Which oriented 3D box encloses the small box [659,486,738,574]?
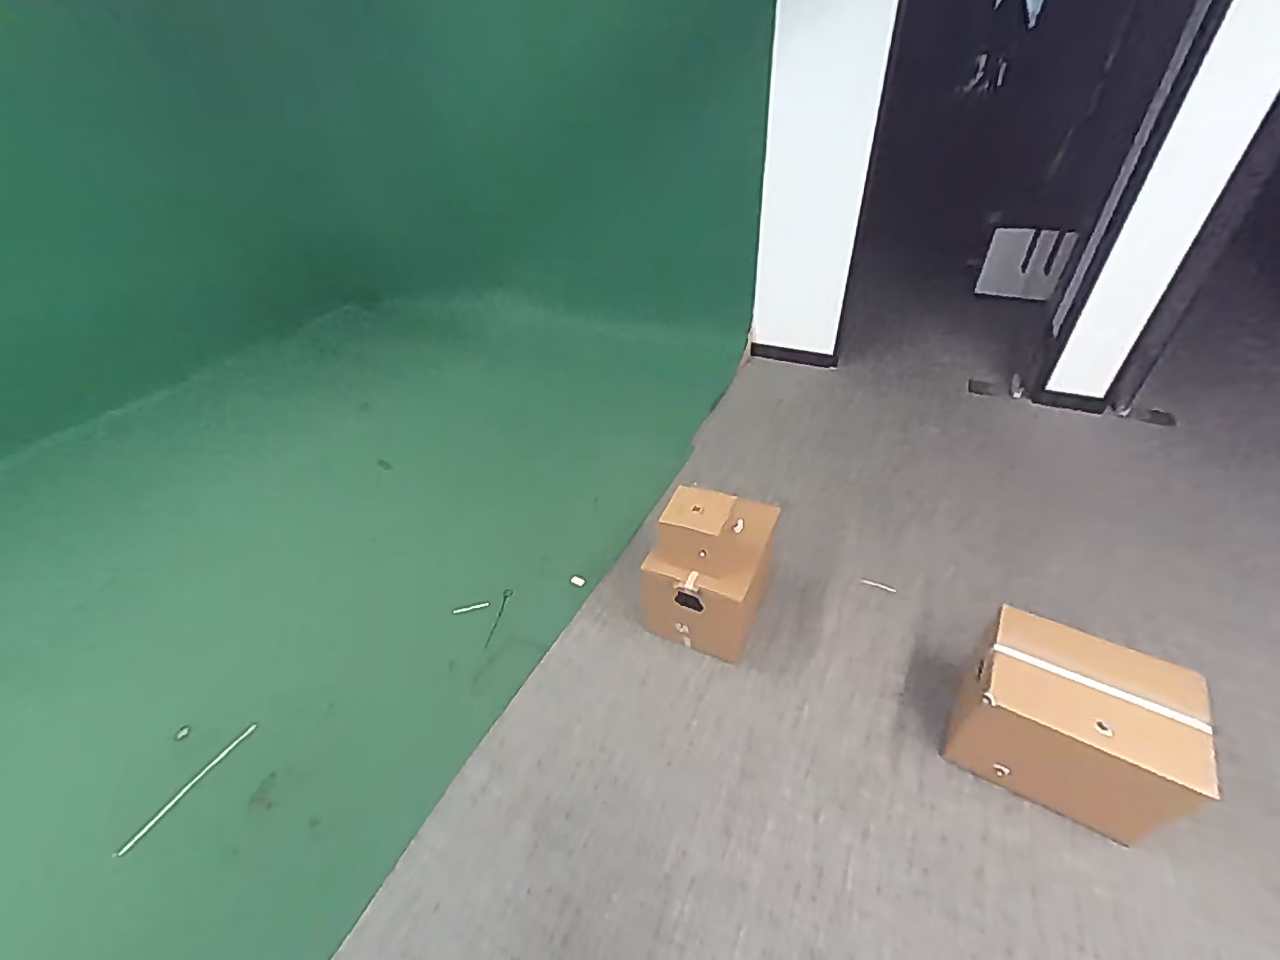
[{"bbox_3d":[0.170,0.145,1.544,0.179,0.176,0.168,13,42,22],"label":"small box"}]

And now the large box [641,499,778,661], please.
[{"bbox_3d":[0.232,0.296,1.741,0.320,0.320,0.408,15,43,22],"label":"large box"}]
